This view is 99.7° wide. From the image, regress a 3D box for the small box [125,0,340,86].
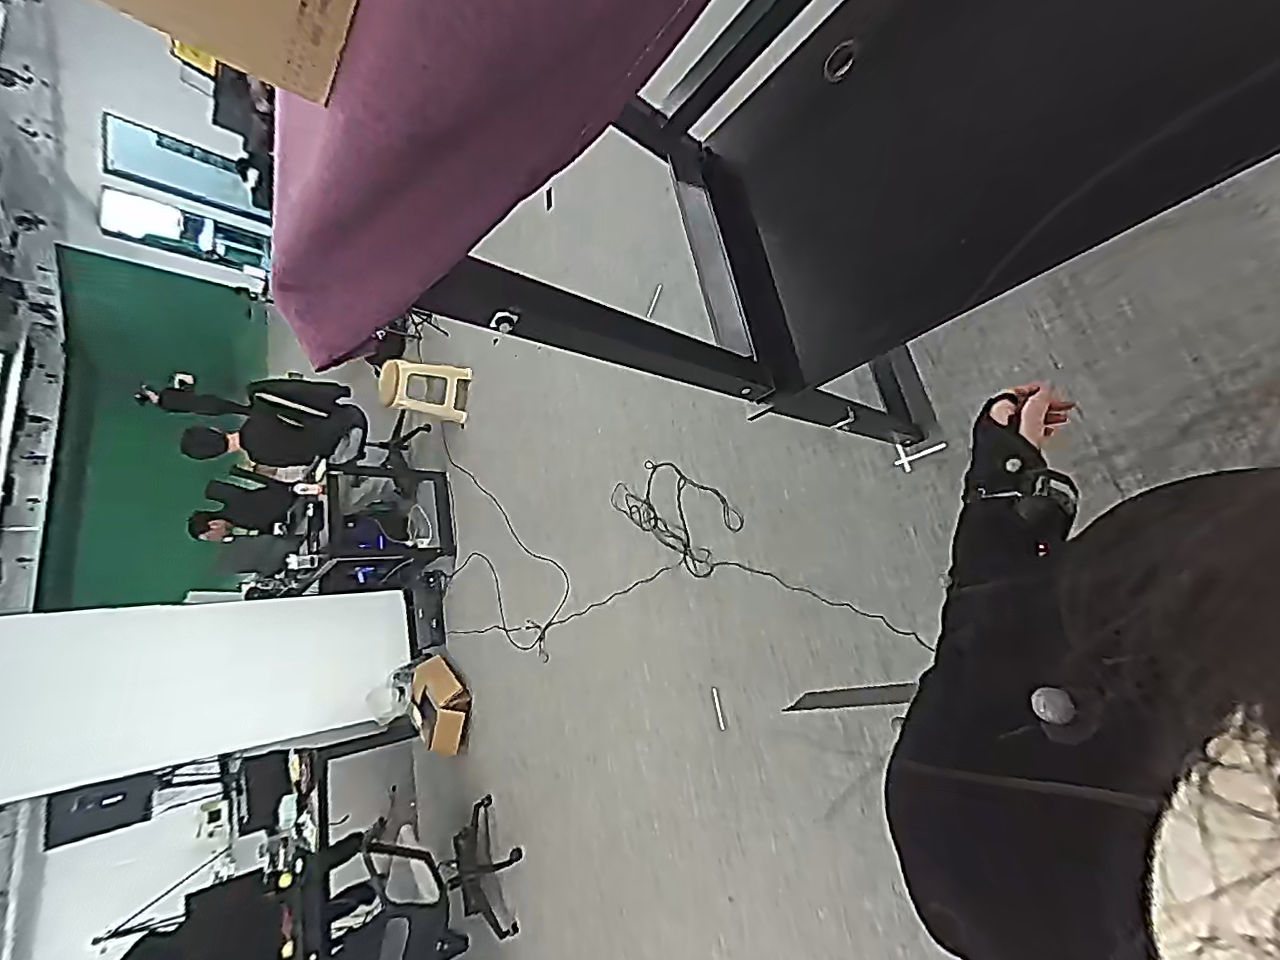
[{"bbox_3d":[-0.264,-0.383,0.310,0.168,0.176,0.179,-37,60,39],"label":"small box"}]
